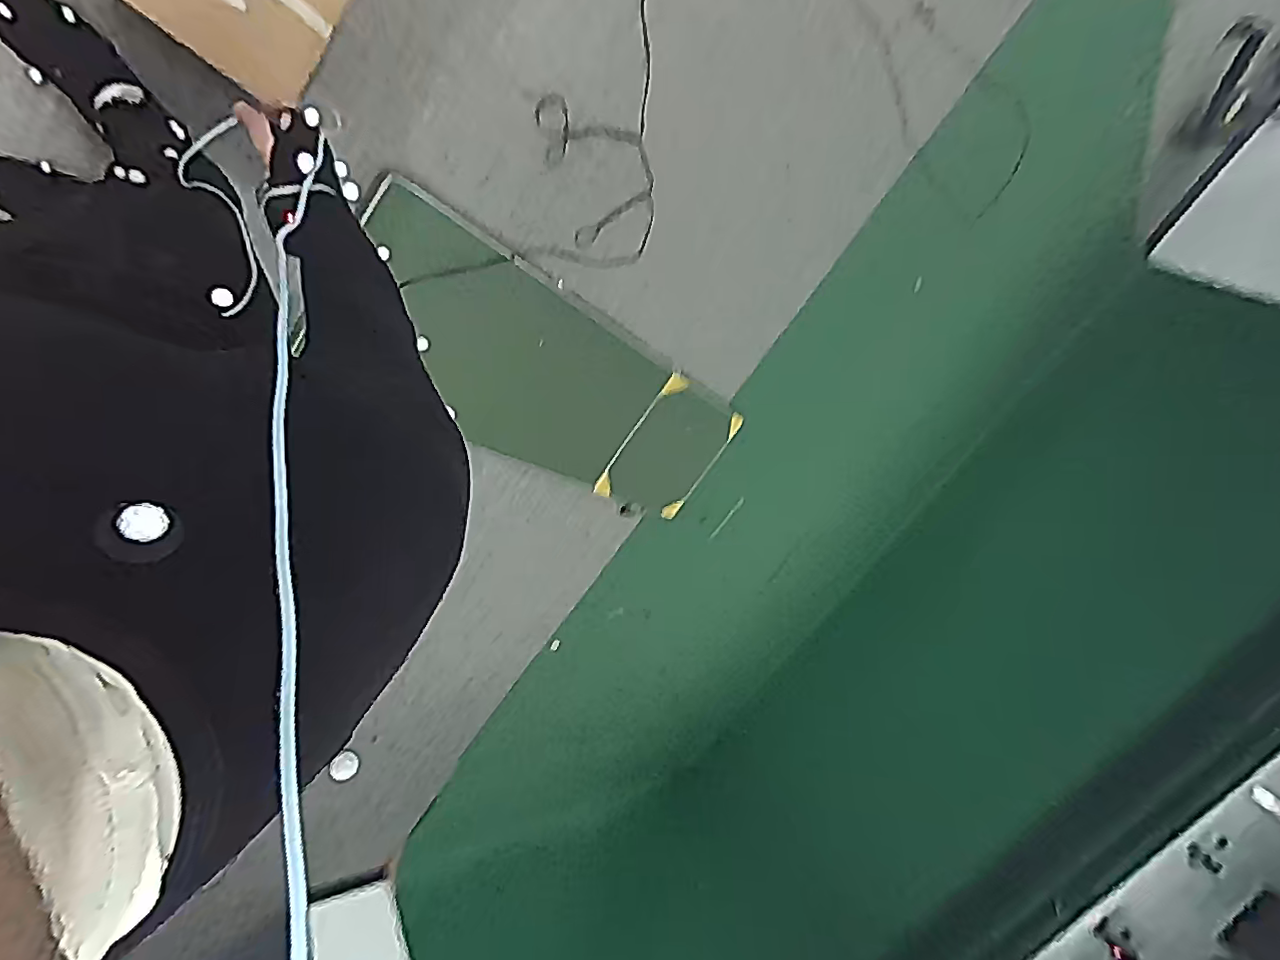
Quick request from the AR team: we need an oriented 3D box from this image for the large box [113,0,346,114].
[{"bbox_3d":[-0.723,-0.876,0.840,0.320,0.320,0.408,-53,142,11],"label":"large box"}]
